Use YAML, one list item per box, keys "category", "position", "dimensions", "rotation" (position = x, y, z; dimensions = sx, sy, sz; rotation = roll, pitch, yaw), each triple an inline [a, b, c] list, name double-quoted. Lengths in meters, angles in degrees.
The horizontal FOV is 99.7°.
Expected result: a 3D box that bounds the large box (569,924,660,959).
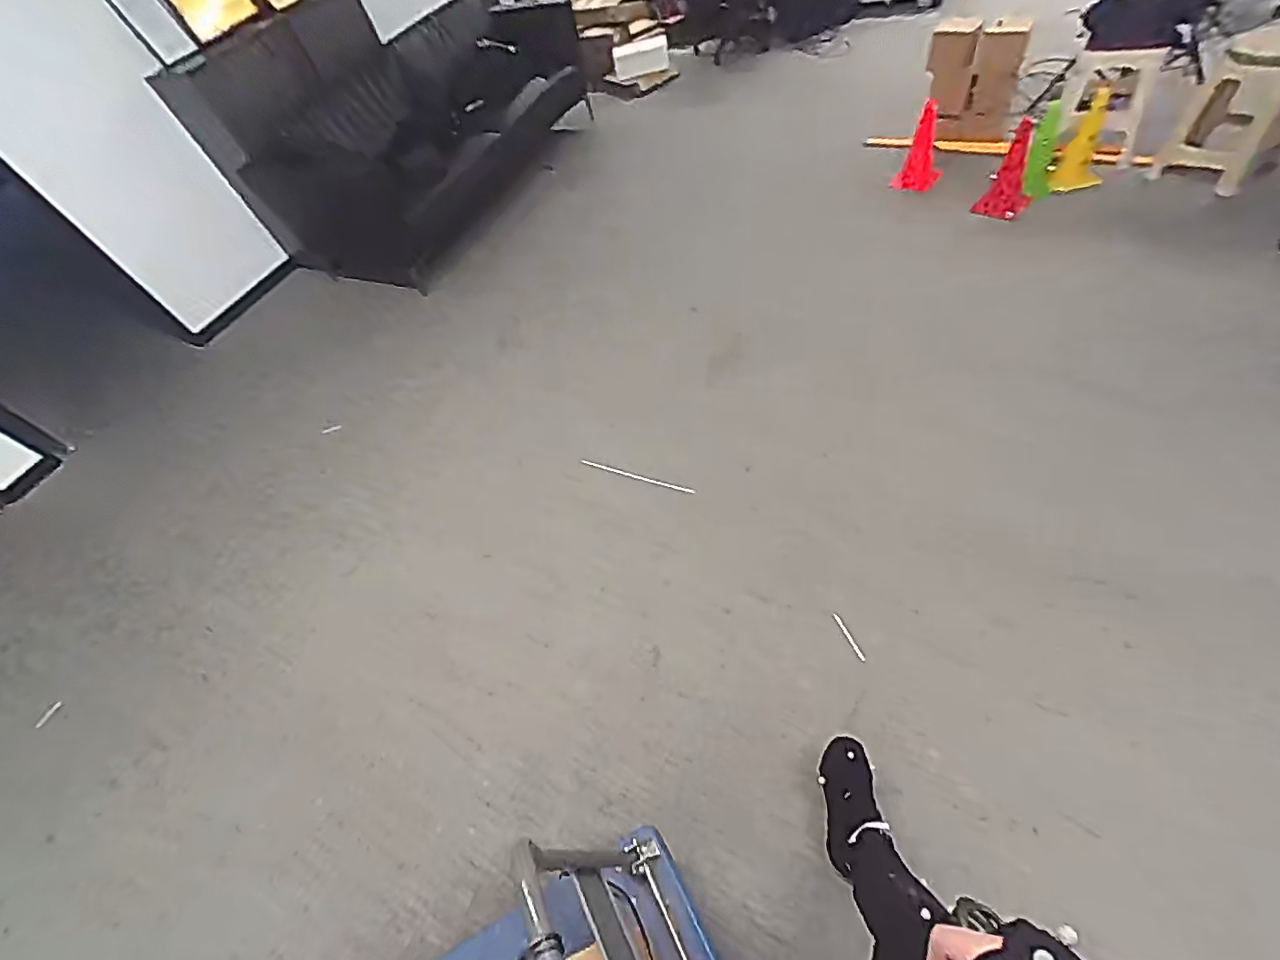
- category: "large box"
  position: [-0.130, 1.017, 0.884]
  dimensions: [0.408, 0.320, 0.320]
  rotation: [-26, 53, -4]
